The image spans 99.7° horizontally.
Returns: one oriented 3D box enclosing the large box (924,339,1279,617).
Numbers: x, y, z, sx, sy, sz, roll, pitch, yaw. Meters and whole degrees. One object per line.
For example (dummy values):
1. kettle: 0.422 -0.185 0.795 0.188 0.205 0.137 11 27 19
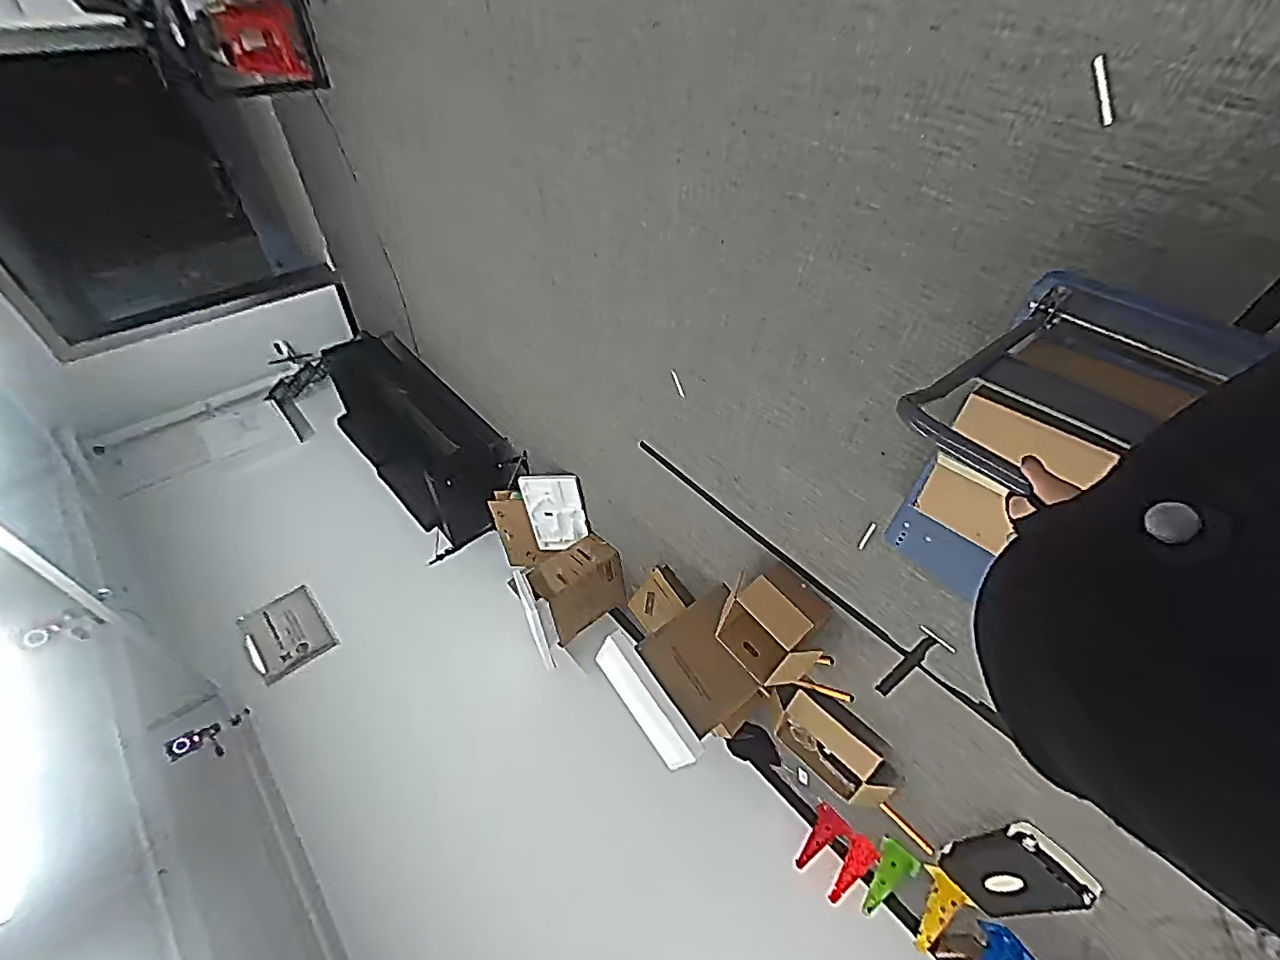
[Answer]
1. large box: 0.869 -0.024 1.054 0.408 0.320 0.320 38 145 34
